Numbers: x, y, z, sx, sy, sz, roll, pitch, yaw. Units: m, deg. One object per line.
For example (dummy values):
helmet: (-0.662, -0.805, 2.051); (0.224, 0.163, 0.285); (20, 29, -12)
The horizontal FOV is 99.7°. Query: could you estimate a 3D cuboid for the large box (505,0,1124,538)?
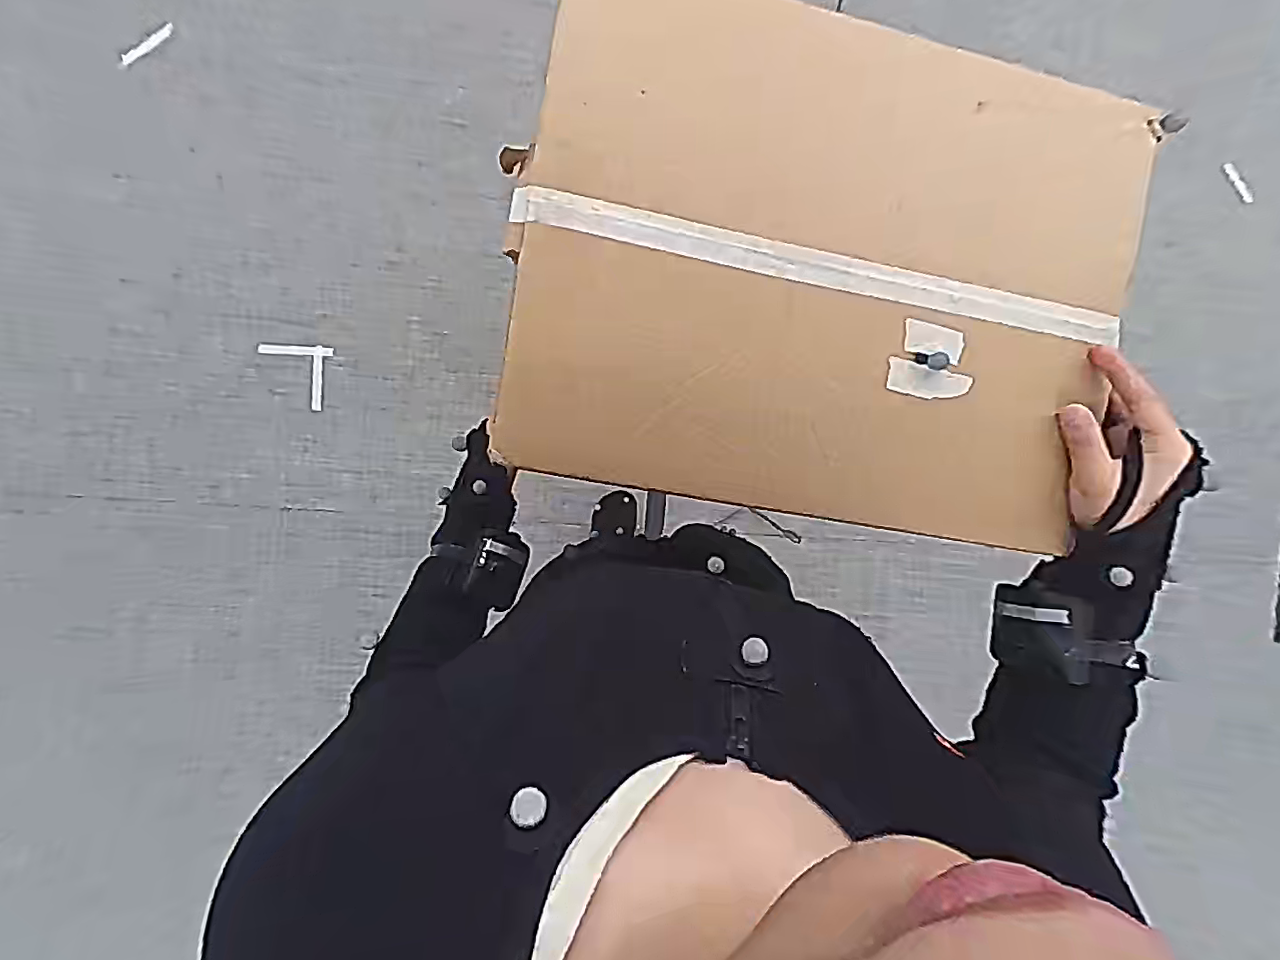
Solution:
large box: (0.107, -0.143, 0.507); (0.408, 0.320, 0.320); (9, 93, -8)
